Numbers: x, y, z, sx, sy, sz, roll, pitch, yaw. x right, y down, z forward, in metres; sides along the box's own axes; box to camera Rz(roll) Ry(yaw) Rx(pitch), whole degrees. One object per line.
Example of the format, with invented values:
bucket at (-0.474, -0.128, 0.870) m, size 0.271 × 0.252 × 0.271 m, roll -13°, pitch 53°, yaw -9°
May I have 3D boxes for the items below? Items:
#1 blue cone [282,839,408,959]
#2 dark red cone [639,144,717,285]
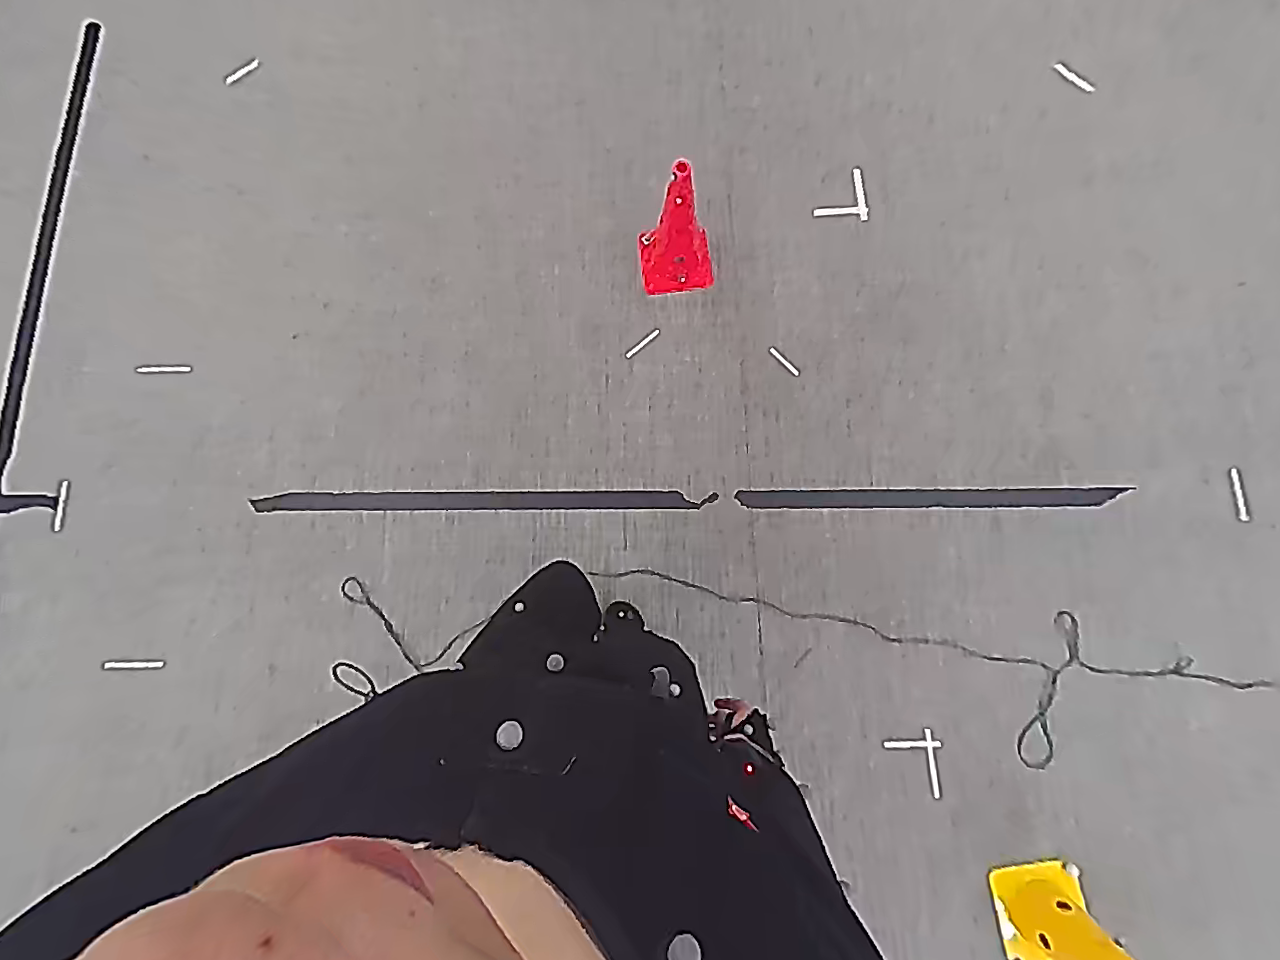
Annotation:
blue cone at (-0.633, 0.906, 1.086) m, size 0.193 × 0.380 × 0.192 m, roll 0°, pitch 80°, yaw 1°
dark red cone at (0.103, -0.672, 1.348) m, size 0.202 × 0.394 × 0.201 m, roll -9°, pitch 80°, yaw 0°
